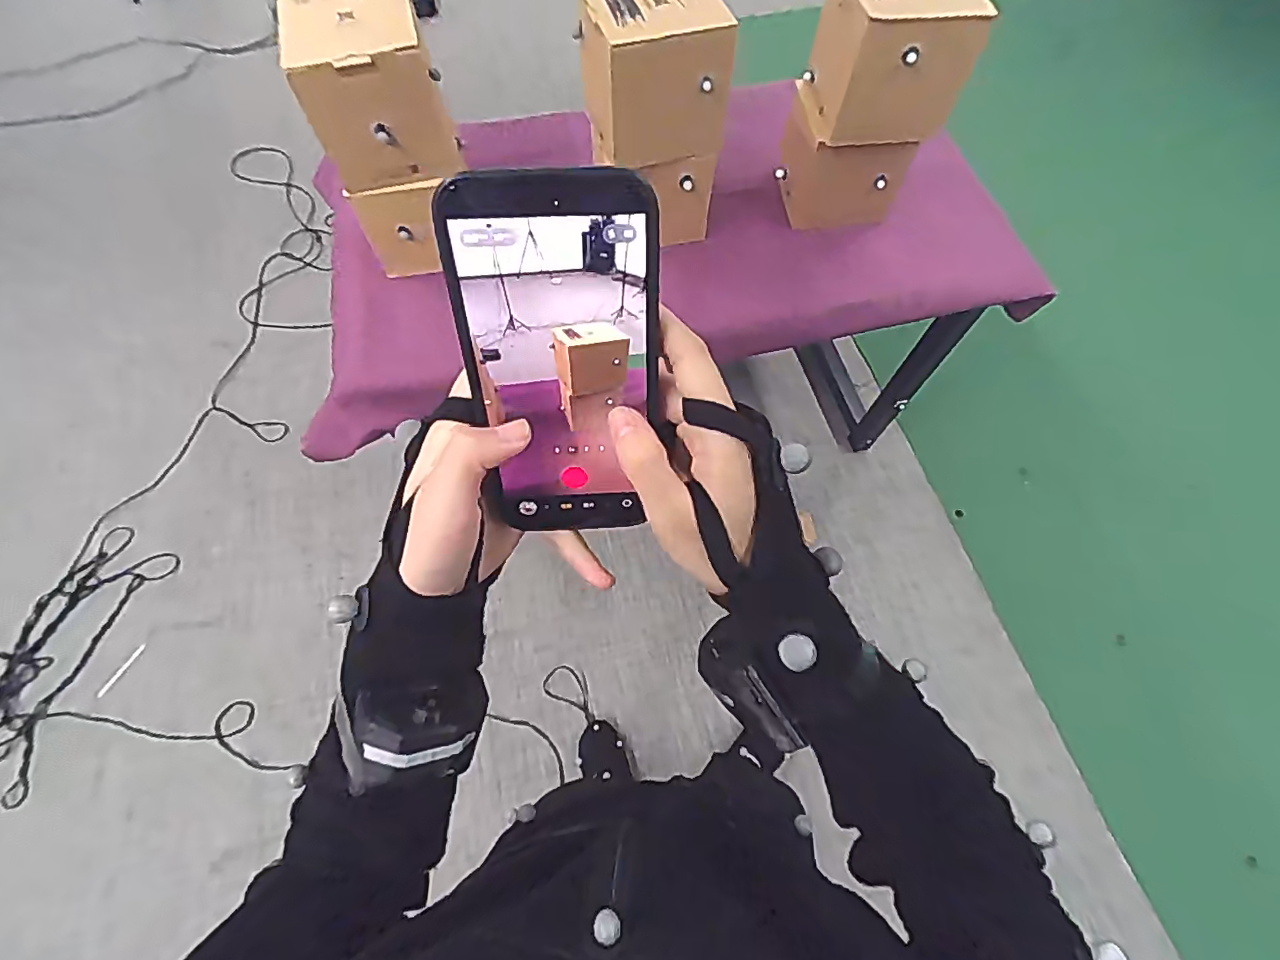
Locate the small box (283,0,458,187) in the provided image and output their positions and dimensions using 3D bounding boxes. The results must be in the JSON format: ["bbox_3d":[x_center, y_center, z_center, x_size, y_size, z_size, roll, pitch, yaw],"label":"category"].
[{"bbox_3d":[-0.371,-0.544,0.765,0.168,0.176,0.179,-14,67,-7],"label":"small box"}]

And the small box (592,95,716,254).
[{"bbox_3d":[0.018,-0.520,0.933,0.179,0.176,0.168,-10,66,-5],"label":"small box"}]

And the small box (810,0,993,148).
[{"bbox_3d":[0.366,-0.622,0.803,0.179,0.176,0.168,-5,65,-3],"label":"small box"}]

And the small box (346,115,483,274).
[{"bbox_3d":[-0.369,-0.469,0.911,0.168,0.176,0.179,-10,66,-4],"label":"small box"}]

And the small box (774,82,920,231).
[{"bbox_3d":[0.354,-0.567,0.957,0.179,0.176,0.168,-5,65,-2],"label":"small box"}]
